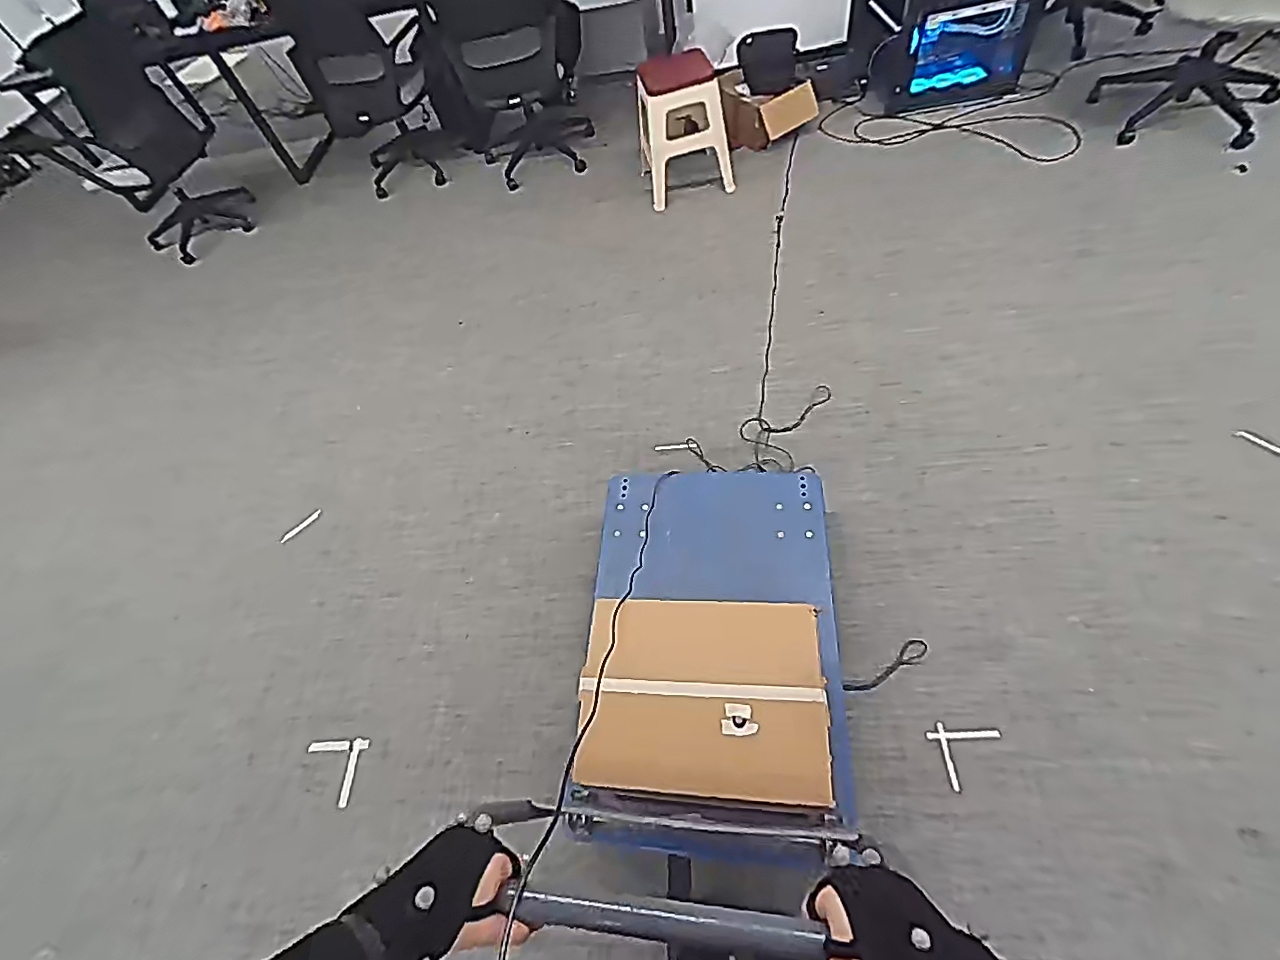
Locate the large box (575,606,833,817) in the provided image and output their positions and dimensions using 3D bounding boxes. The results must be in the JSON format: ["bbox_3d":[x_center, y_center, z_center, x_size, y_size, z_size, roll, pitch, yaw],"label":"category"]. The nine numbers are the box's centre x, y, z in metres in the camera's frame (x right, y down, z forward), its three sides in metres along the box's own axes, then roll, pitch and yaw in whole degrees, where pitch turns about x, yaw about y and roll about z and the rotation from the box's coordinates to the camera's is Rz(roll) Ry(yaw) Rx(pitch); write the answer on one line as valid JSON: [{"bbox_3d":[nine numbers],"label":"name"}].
[{"bbox_3d":[0.121,0.443,1.028,0.408,0.320,0.320,-1,58,10],"label":"large box"}]
